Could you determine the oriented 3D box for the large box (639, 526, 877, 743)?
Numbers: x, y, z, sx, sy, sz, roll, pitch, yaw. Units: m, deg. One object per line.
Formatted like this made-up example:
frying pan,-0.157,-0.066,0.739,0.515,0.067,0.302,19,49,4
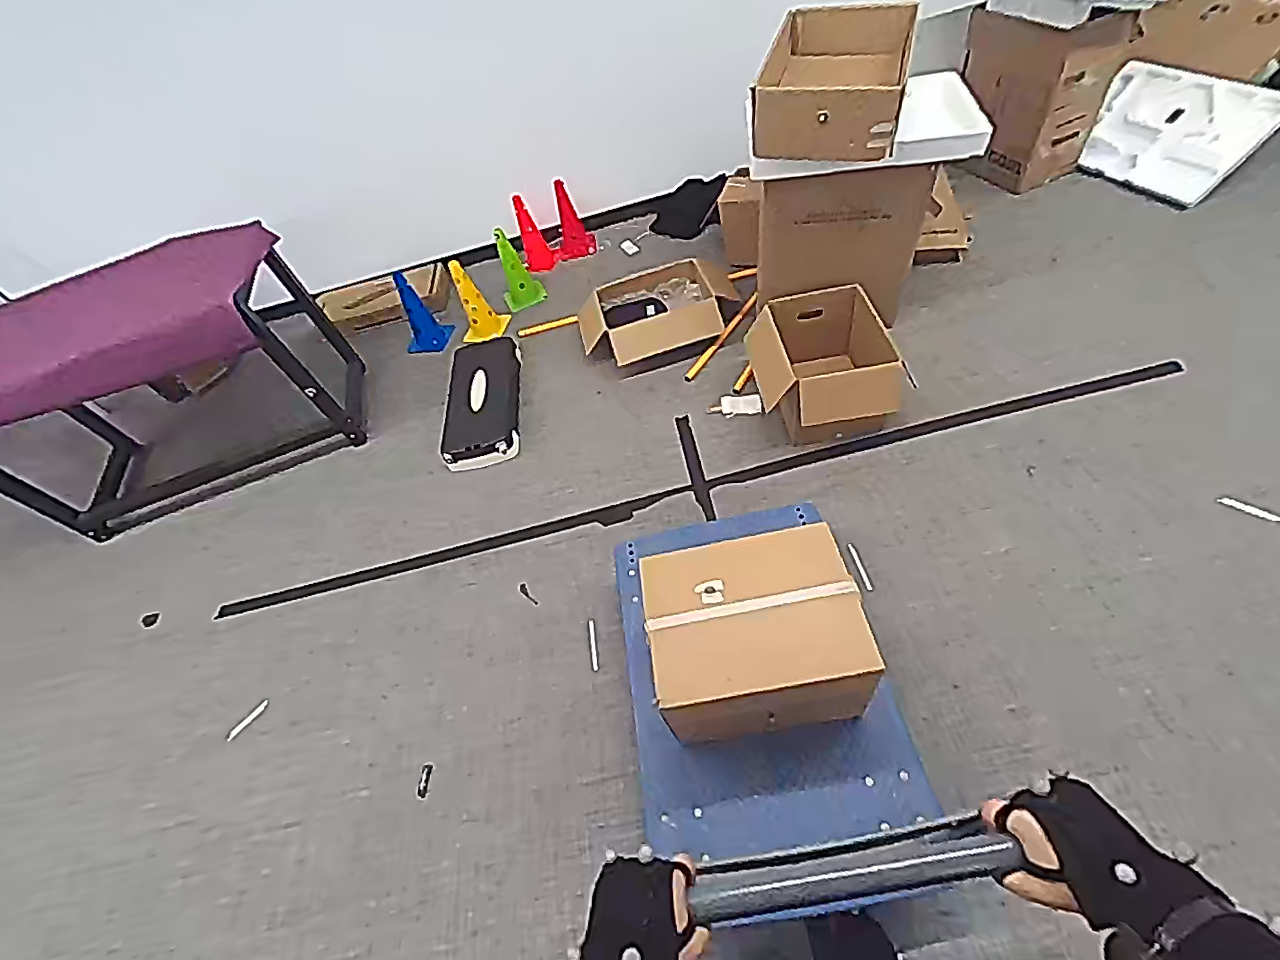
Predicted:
large box,0.240,0.345,1.175,0.408,0.320,0.320,-13,50,5
